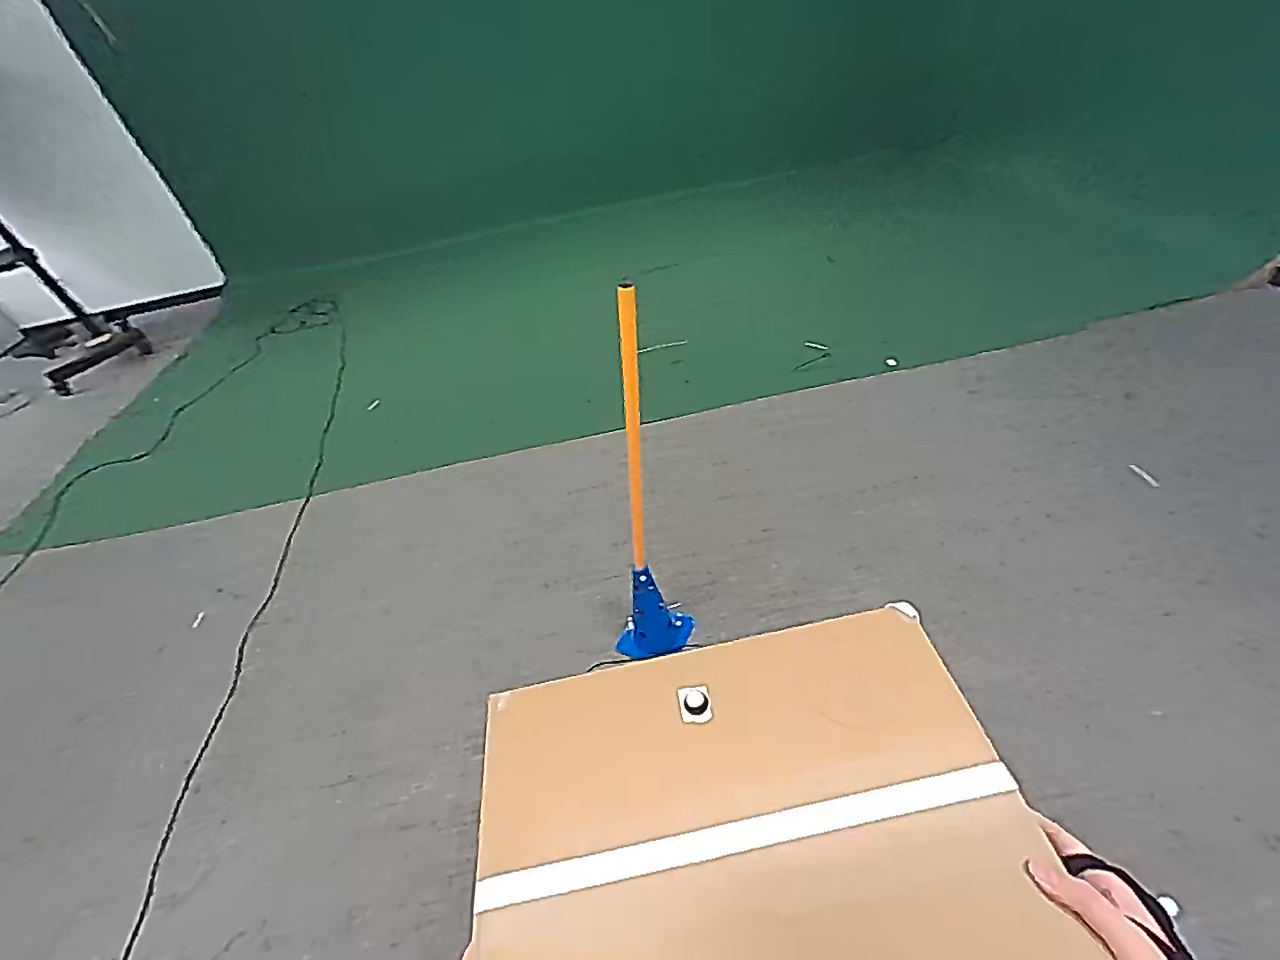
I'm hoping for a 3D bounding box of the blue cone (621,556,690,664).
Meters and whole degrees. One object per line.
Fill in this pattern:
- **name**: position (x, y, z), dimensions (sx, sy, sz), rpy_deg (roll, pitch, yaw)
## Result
- **blue cone**: position (0.025, 0.353, 1.581), dimensions (0.192, 0.380, 0.193), rpy_deg (12, 46, 22)
